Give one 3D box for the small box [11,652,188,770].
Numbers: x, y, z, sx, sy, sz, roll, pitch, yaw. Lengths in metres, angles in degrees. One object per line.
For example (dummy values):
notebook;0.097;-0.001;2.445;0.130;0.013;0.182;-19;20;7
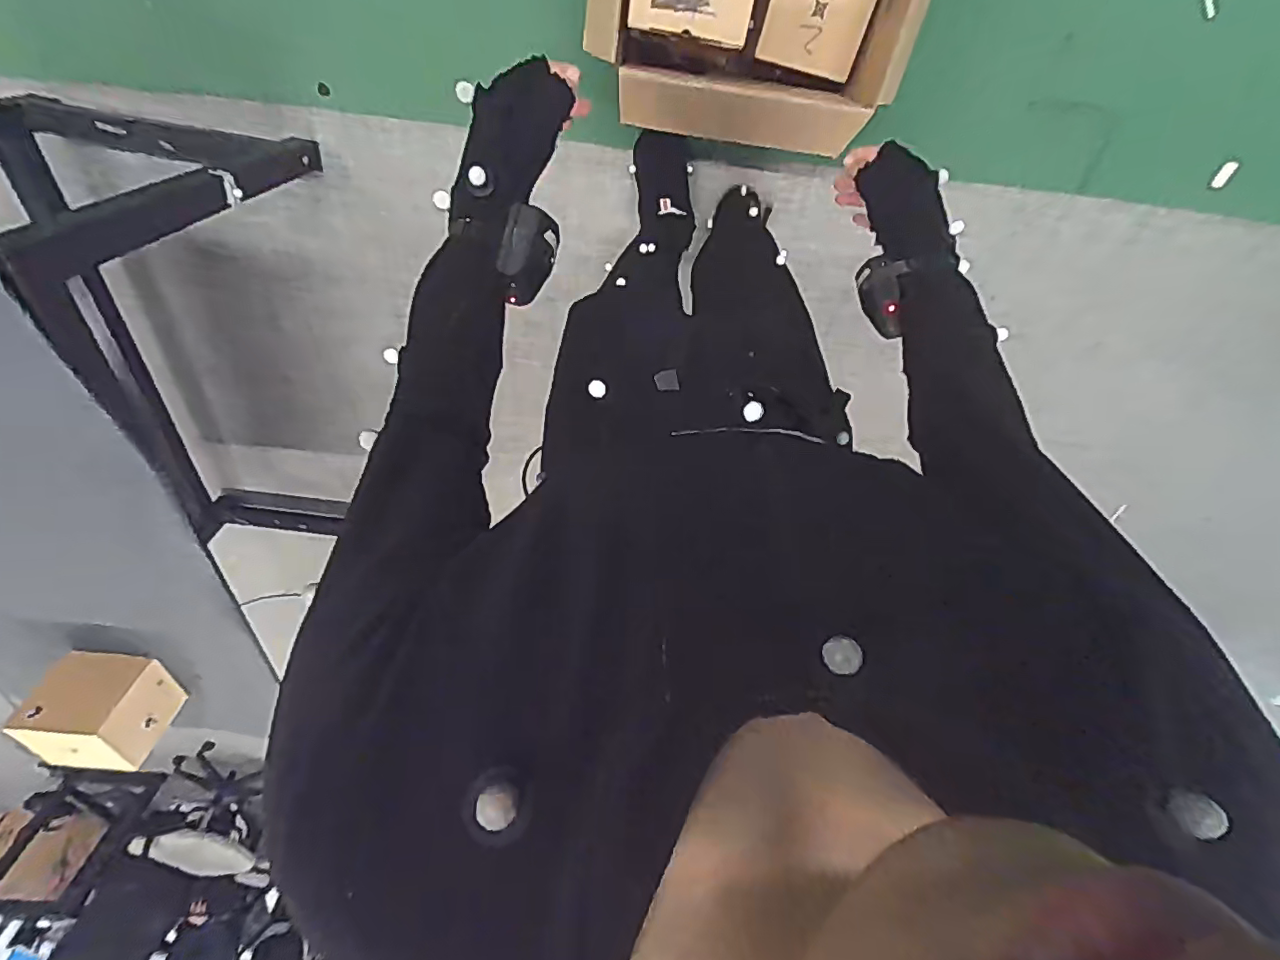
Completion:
small box;-1.096;0.477;1.123;0.179;0.176;0.168;6;130;-1
